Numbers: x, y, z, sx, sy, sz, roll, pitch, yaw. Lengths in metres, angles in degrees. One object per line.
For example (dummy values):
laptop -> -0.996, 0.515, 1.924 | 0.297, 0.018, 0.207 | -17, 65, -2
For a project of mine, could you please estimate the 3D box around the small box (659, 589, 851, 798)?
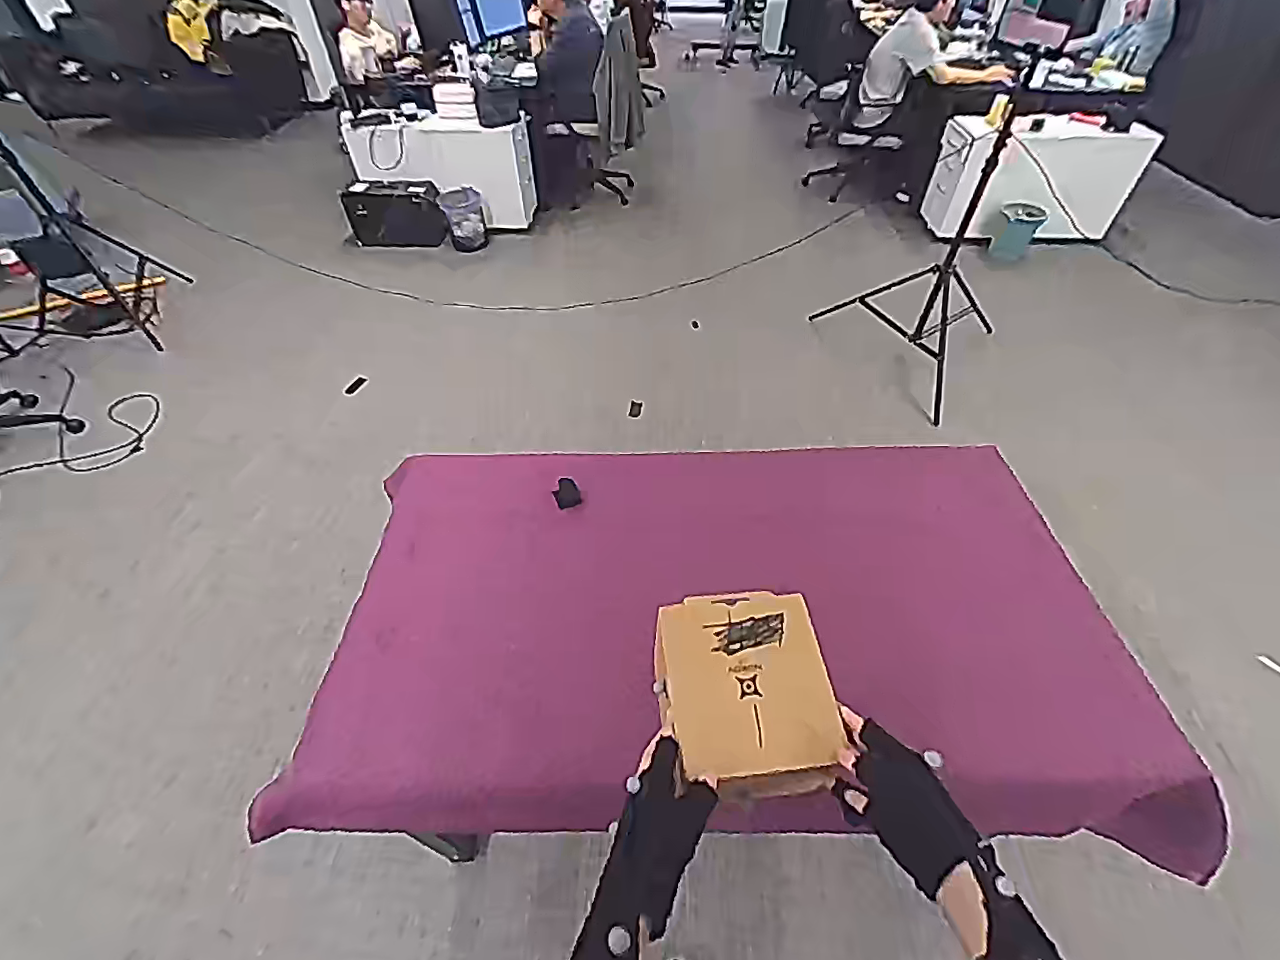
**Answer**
small box -> 0.112, 0.246, 0.621 | 0.168, 0.176, 0.179 | -5, 53, -3
